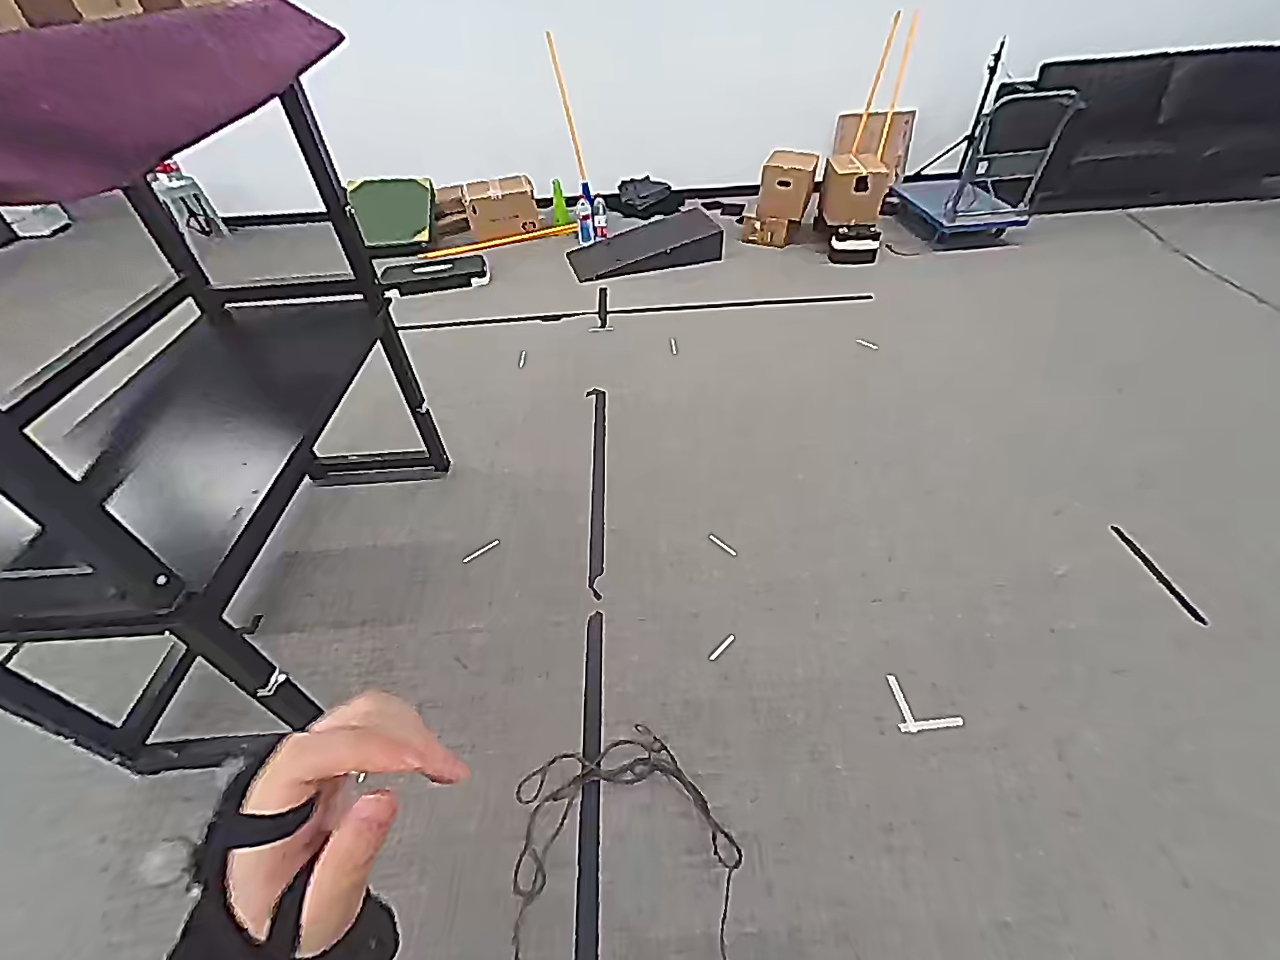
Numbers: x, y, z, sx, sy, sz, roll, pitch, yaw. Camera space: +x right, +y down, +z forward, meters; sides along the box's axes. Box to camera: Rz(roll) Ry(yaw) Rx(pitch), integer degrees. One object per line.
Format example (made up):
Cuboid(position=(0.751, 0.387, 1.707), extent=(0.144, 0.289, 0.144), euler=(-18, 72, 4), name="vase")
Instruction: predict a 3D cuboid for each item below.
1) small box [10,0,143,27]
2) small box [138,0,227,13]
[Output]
Cuboid(position=(-0.965, -0.830, 0.850), extent=(0.179, 0.176, 0.168), euler=(-5, 45, -1), name="small box")
Cuboid(position=(-0.959, -1.026, 1.052), extent=(0.168, 0.176, 0.179), euler=(-2, 45, 3), name="small box")
